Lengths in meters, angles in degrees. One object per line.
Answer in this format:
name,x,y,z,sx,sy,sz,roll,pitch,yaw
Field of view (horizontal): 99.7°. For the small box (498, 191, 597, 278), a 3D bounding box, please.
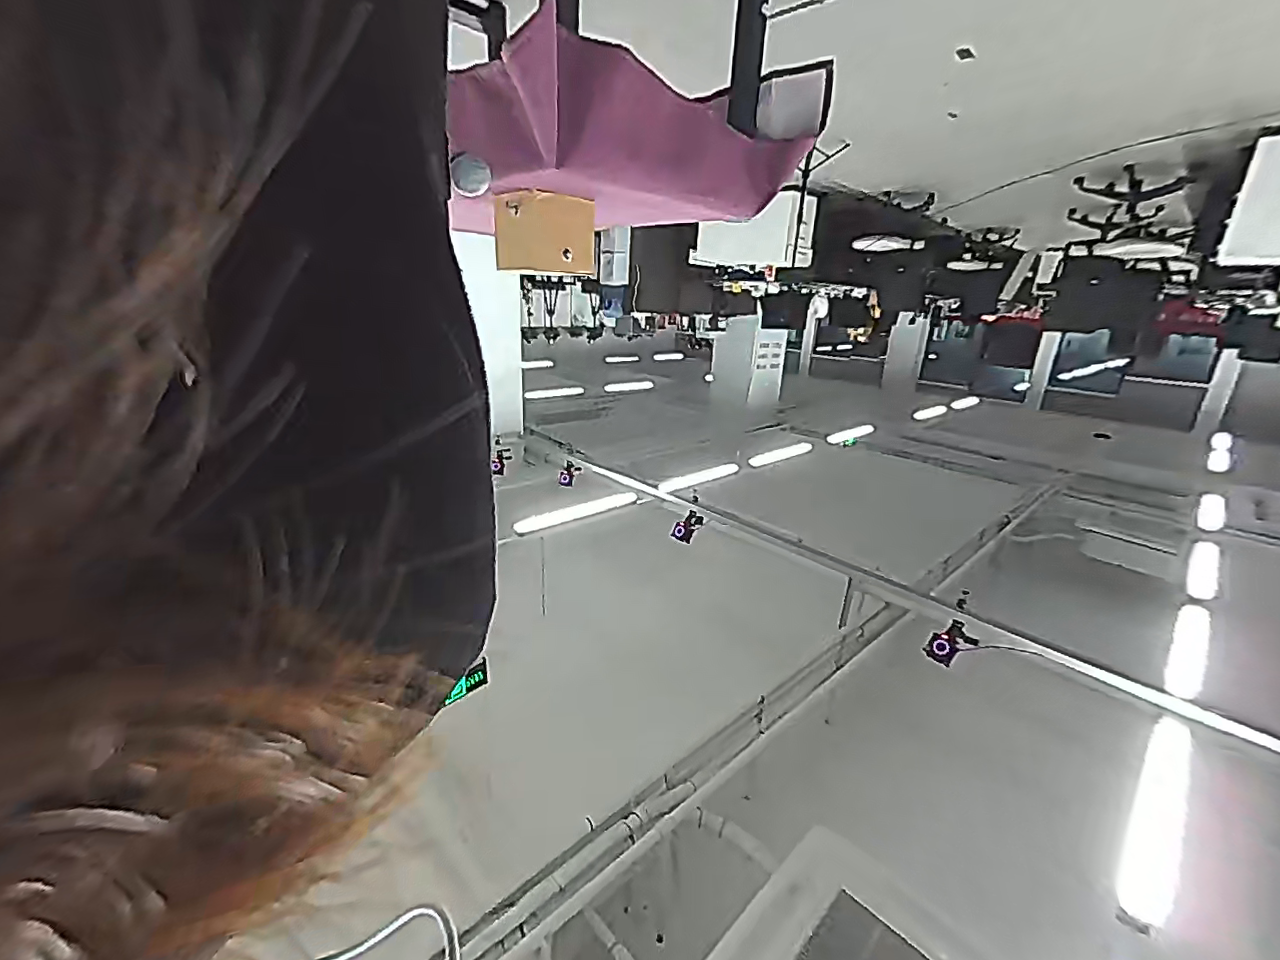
small box,-0.214,-0.570,1.266,0.179,0.176,0.168,-15,-154,-42
